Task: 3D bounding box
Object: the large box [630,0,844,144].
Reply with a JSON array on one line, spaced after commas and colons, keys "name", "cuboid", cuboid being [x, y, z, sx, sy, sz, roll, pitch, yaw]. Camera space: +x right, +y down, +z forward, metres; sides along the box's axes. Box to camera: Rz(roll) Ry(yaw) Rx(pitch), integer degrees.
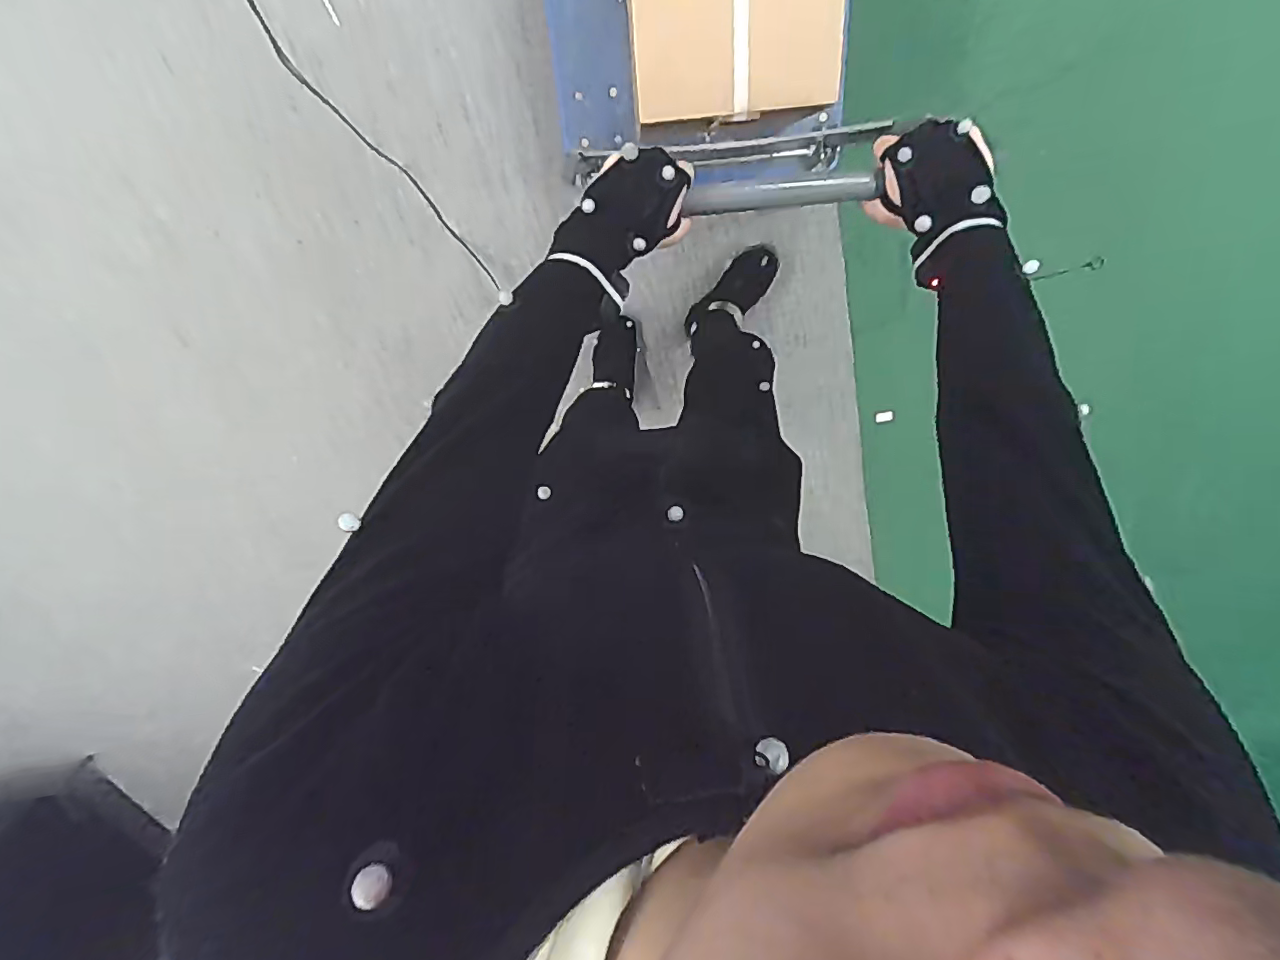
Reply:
[{"name": "large box", "cuboid": [0.136, -0.821, 0.891, 0.320, 0.320, 0.408, -5, 116, 1]}]
